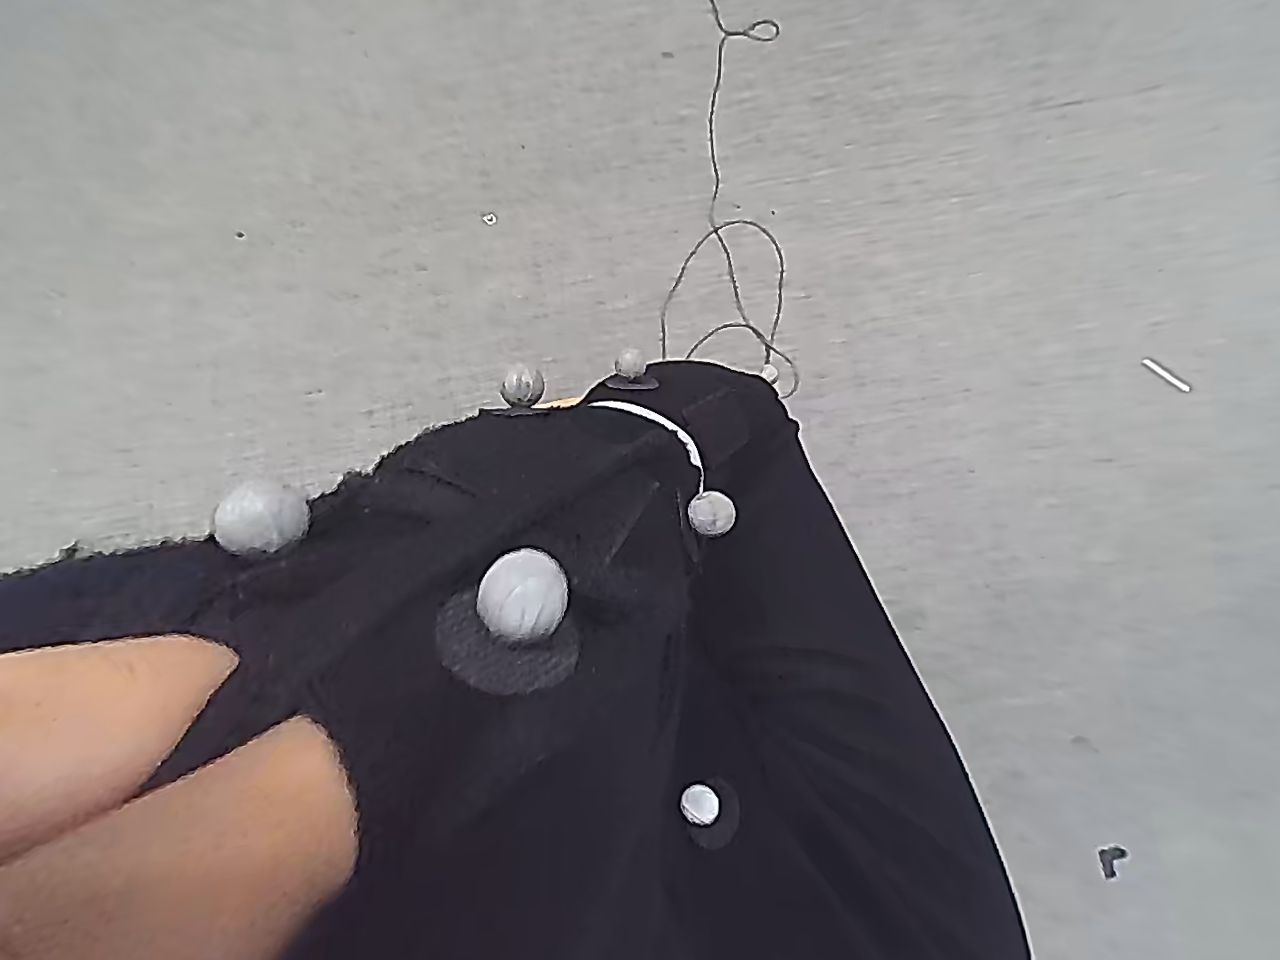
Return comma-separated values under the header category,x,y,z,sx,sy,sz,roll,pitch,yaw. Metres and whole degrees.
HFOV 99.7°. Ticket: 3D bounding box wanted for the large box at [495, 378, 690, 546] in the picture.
category,x,y,z,sx,sy,sz,roll,pitch,yaw
large box,-0.107,-0.025,1.363,0.408,0.320,0.320,-11,83,1
